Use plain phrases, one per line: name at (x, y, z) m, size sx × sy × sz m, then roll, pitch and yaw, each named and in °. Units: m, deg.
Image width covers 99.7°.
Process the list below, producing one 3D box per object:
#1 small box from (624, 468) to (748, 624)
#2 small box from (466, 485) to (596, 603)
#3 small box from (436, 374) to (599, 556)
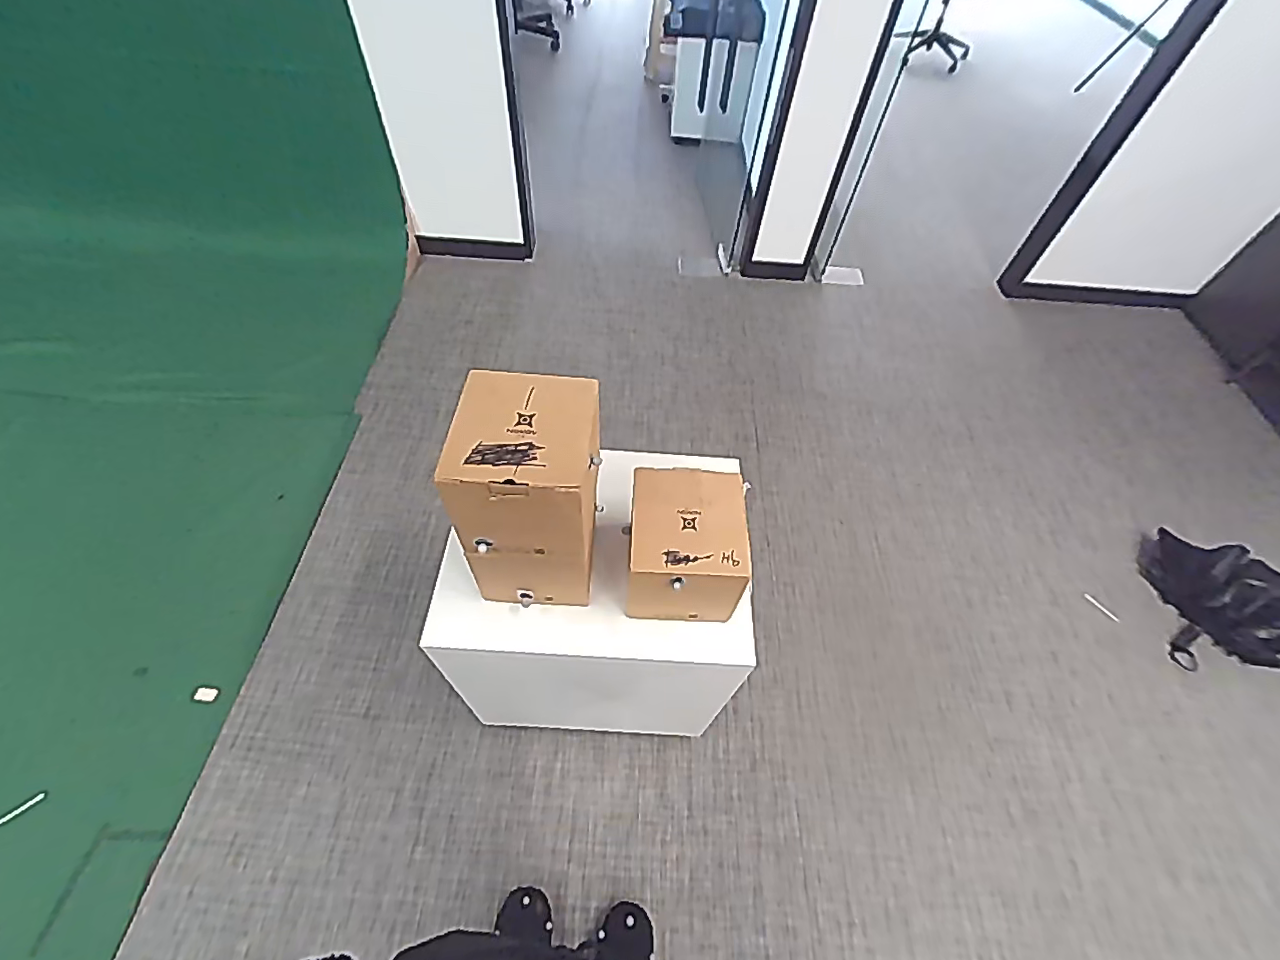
small box at (0.063, 0.105, 0.842) m, size 0.168 × 0.176 × 0.179 m, roll 4°, pitch 53°, yaw -2°
small box at (-0.154, 0.073, 0.832) m, size 0.168 × 0.176 × 0.179 m, roll 2°, pitch 55°, yaw -2°
small box at (-0.145, -0.015, 0.713) m, size 0.168 × 0.176 × 0.179 m, roll 5°, pitch 52°, yaw 0°
